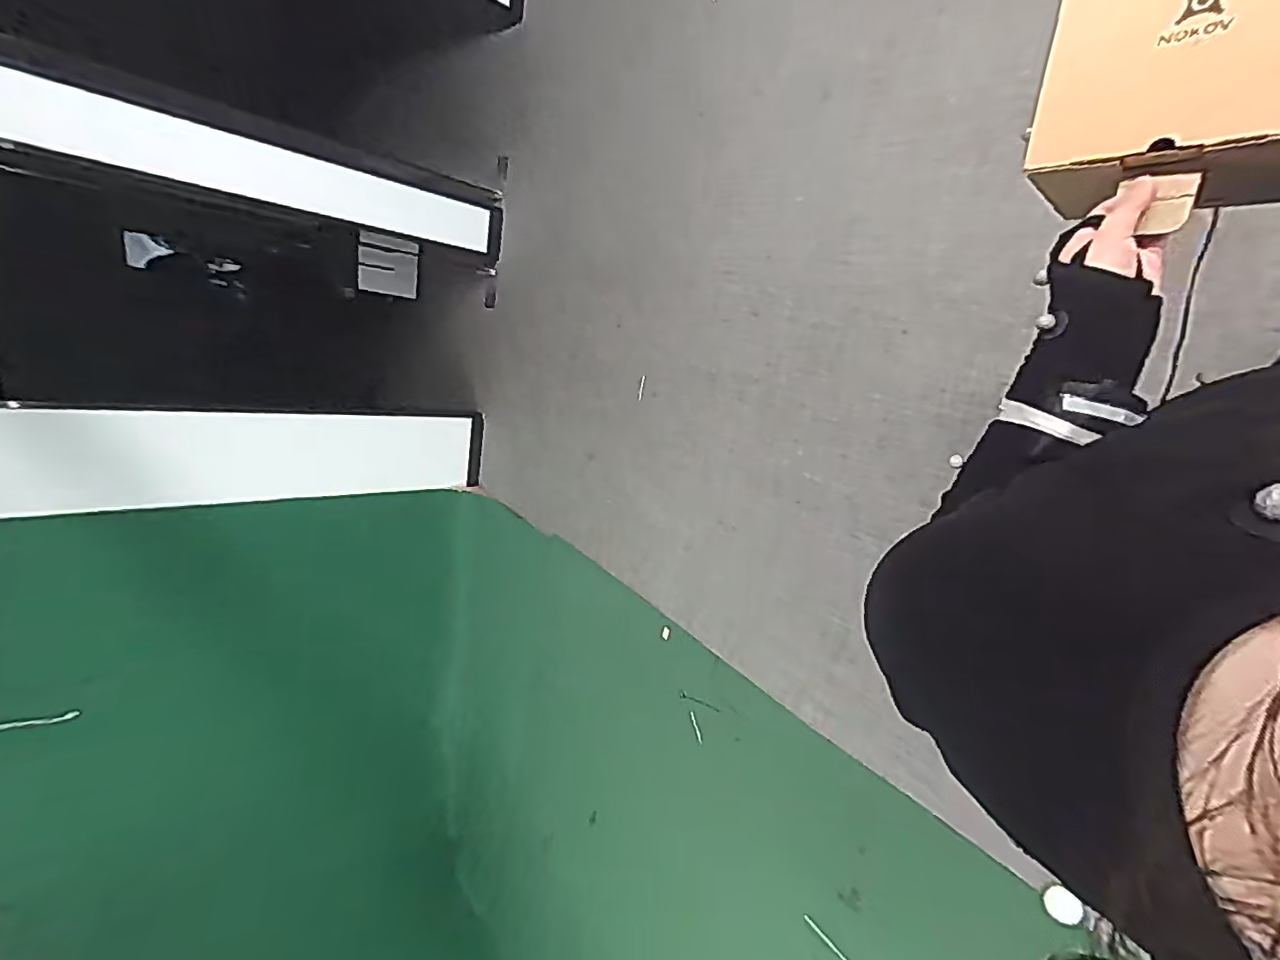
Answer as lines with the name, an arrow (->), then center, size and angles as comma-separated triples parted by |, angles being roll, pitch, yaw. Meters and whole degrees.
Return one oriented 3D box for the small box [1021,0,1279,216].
small box -> 0.434, -0.326, 0.424 | 0.168, 0.176, 0.179 | 19, 111, 44
